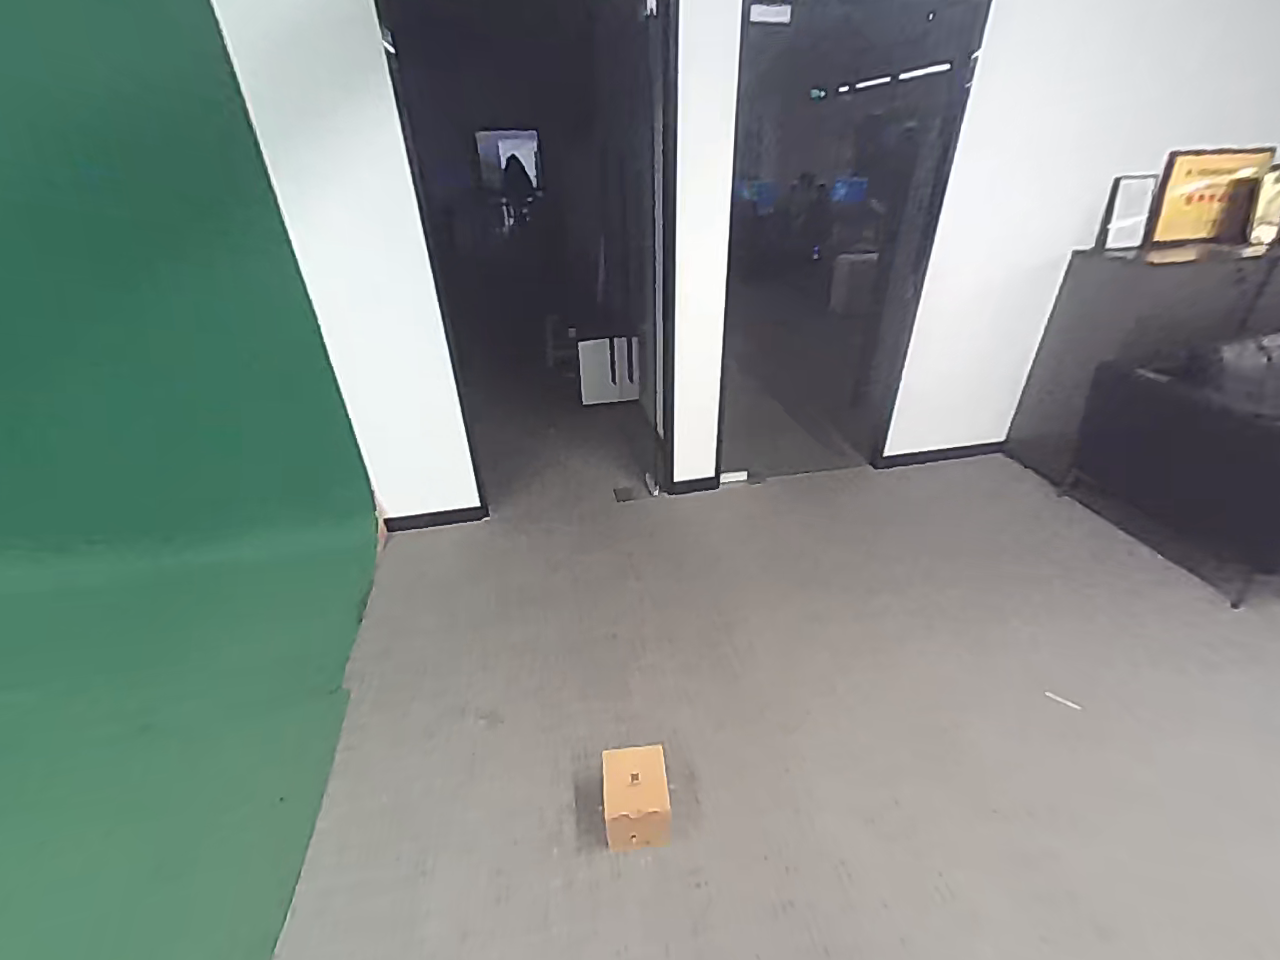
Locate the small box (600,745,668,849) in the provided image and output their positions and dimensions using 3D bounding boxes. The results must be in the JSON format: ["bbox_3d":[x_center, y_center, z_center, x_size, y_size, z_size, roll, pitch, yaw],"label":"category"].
[{"bbox_3d":[-0.021,0.842,1.441,0.168,0.176,0.179,-3,32,-5],"label":"small box"}]
